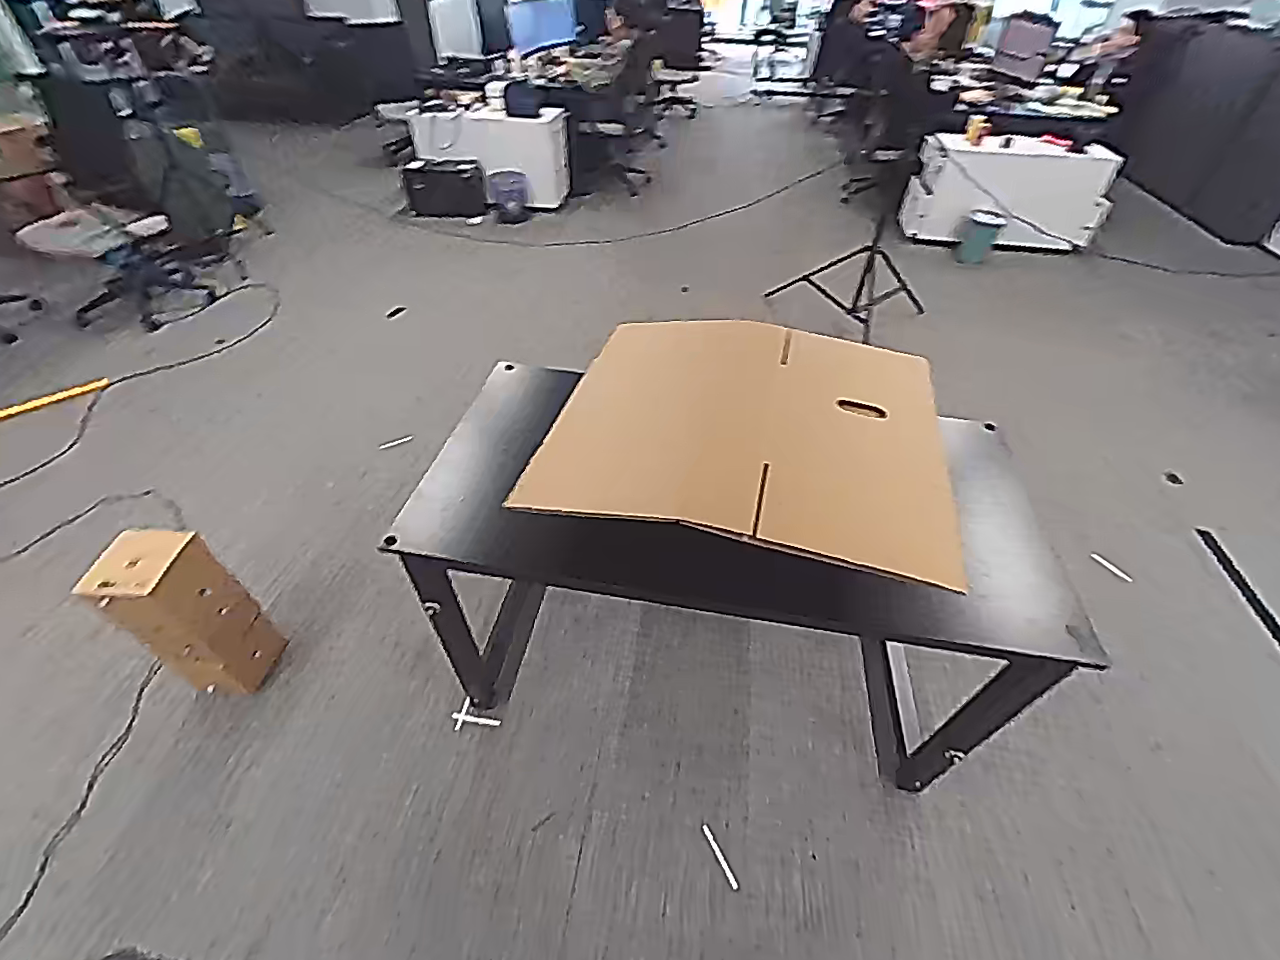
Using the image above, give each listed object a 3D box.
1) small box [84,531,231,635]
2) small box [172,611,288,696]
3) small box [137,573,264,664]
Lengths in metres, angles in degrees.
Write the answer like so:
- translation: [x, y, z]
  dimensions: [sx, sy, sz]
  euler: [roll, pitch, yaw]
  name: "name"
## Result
- translation: [-1.121, 0.243, 1.281]
  dimensions: [0.168, 0.176, 0.179]
  euler: [2, 44, 0]
  name: "small box"
- translation: [-1.127, 0.477, 1.509]
  dimensions: [0.168, 0.176, 0.179]
  euler: [5, 46, 4]
  name: "small box"
- translation: [-1.124, 0.357, 1.400]
  dimensions: [0.168, 0.176, 0.179]
  euler: [3, 43, 1]
  name: "small box"
